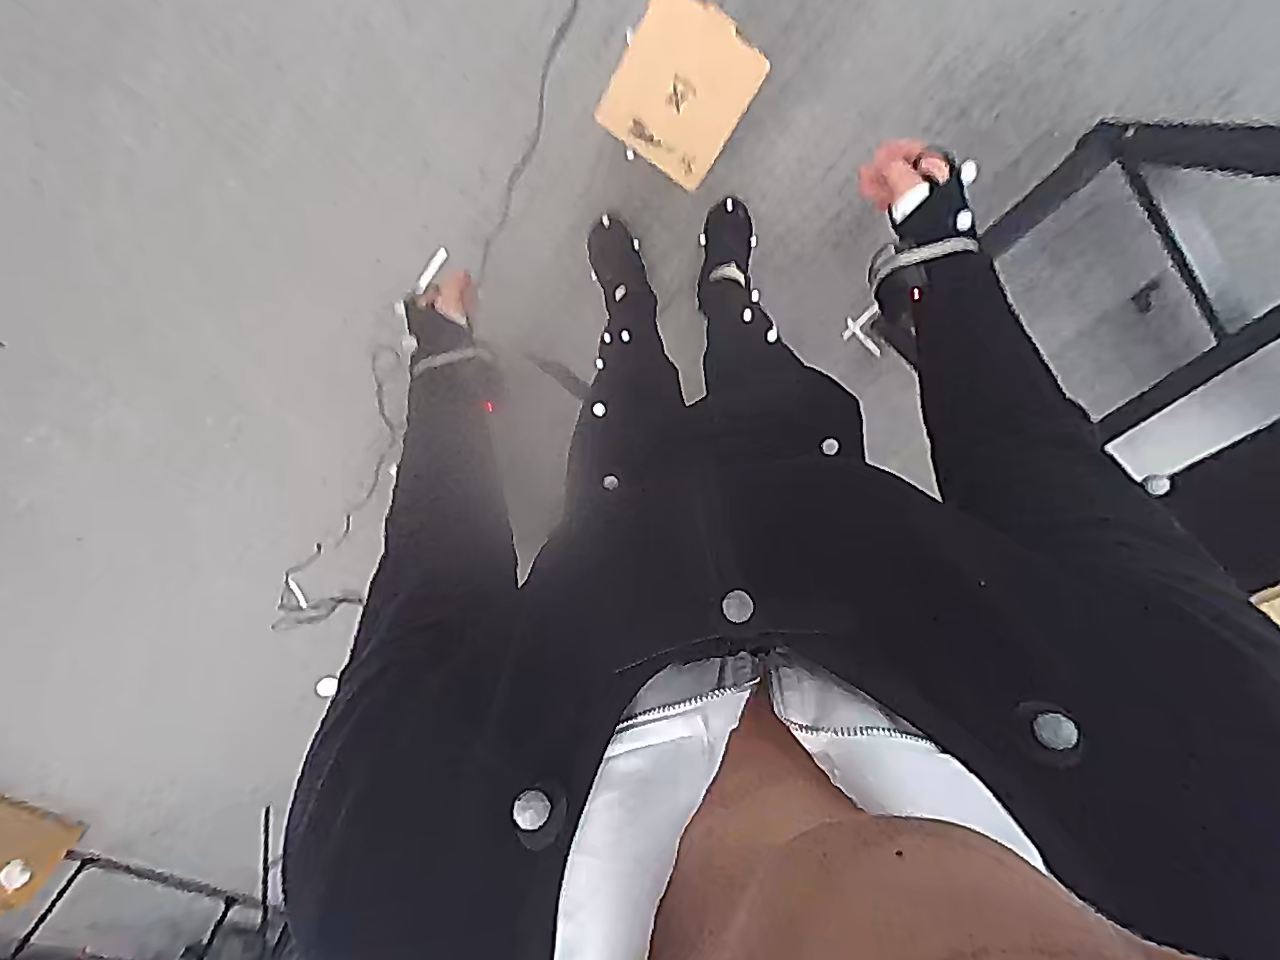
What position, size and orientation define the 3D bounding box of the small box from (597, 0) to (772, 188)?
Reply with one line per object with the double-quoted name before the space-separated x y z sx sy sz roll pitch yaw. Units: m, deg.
"small box" 0.054 -0.550 0.764 0.168 0.176 0.179 29 119 -17
